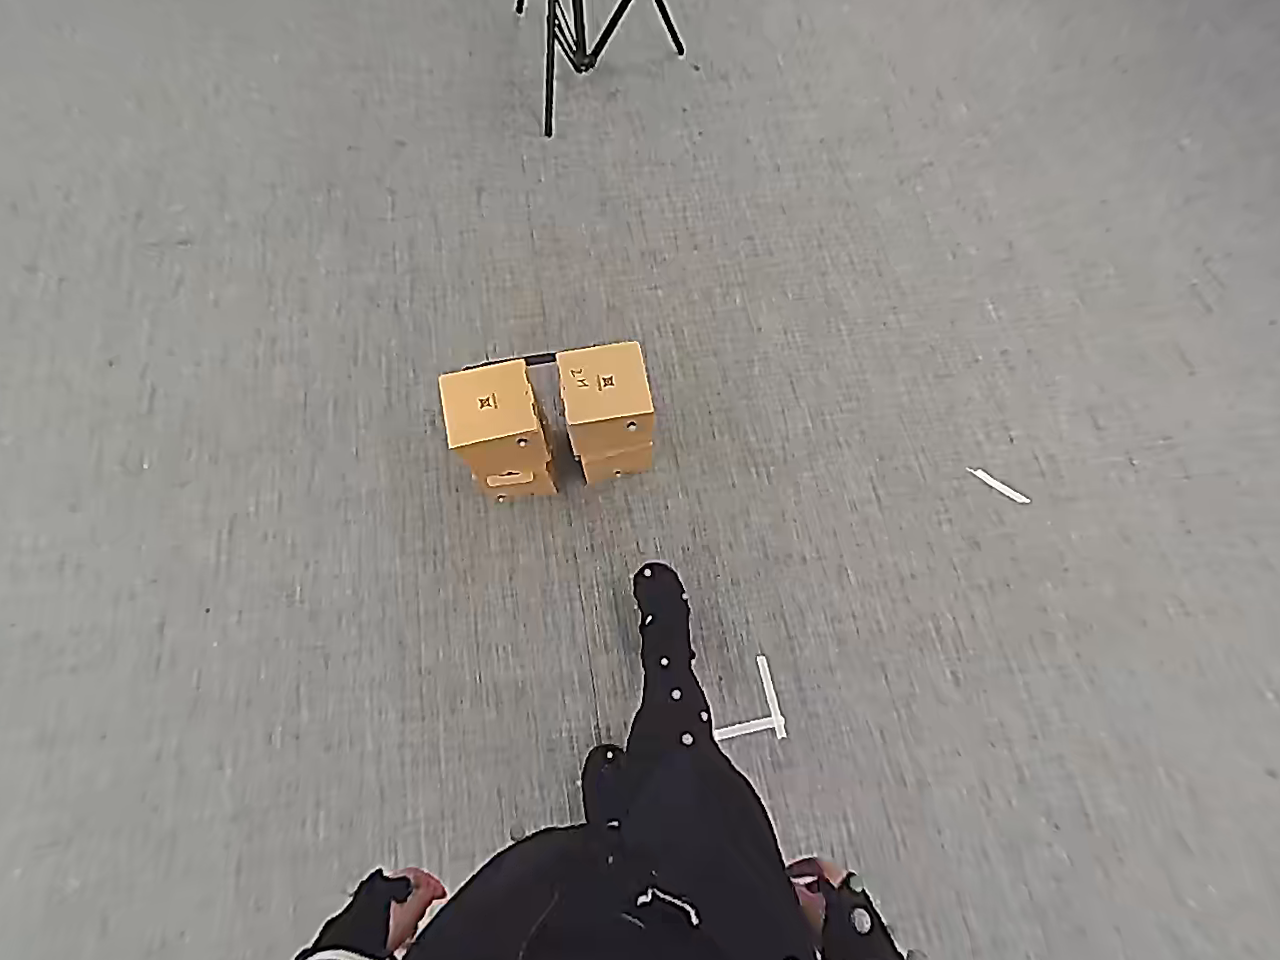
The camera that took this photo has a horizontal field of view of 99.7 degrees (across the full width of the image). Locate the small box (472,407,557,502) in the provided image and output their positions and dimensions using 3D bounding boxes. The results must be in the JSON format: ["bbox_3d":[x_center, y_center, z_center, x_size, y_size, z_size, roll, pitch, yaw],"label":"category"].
[{"bbox_3d":[-0.294,-0.052,1.289,0.168,0.176,0.179,-7,70,-3],"label":"small box"}]
